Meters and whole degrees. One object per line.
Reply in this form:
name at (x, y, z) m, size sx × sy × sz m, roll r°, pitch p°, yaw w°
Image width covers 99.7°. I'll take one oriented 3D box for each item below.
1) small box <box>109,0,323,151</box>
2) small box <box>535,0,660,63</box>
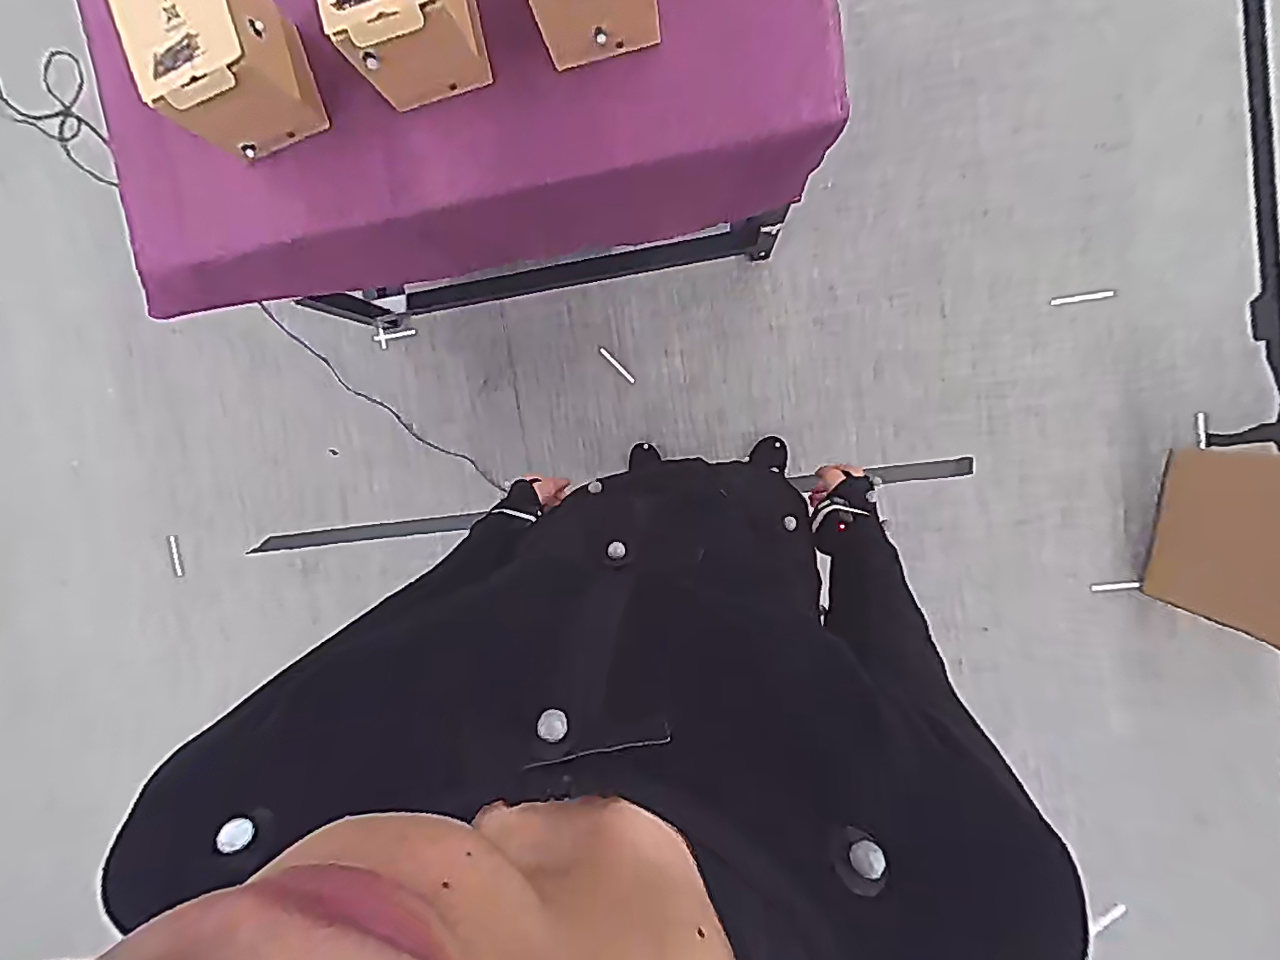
small box at (-0.615, -0.627, 0.803) m, size 0.168 × 0.176 × 0.179 m, roll -17°, pitch 93°, yaw 8°
small box at (-0.071, -0.723, 0.731) m, size 0.168 × 0.176 × 0.179 m, roll -9°, pitch 95°, yaw 8°
